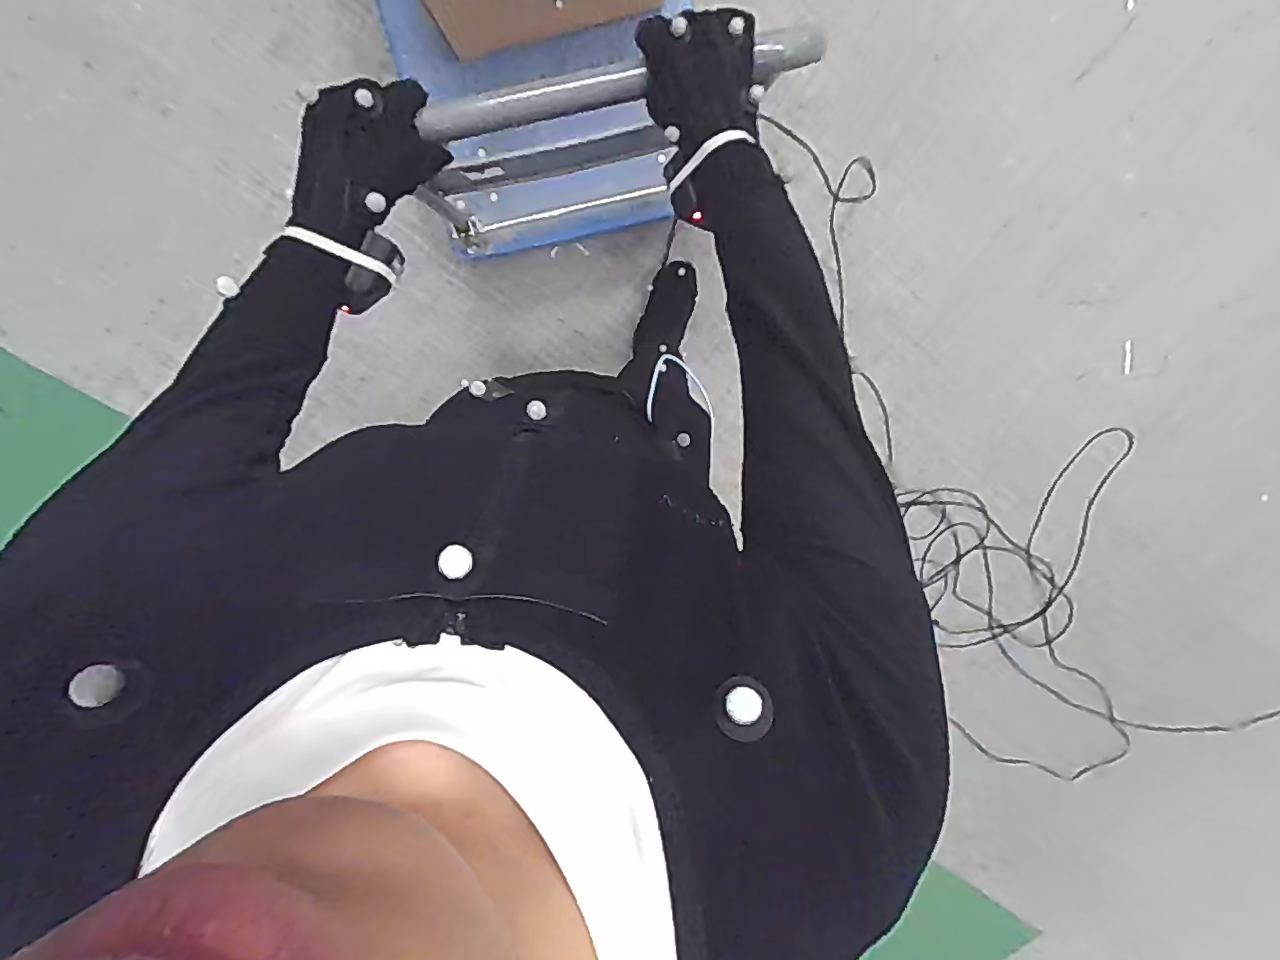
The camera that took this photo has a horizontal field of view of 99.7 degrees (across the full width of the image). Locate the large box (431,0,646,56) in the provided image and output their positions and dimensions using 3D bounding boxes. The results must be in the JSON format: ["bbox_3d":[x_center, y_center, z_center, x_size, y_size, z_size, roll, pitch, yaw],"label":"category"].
[{"bbox_3d":[-0.173,-0.943,0.832,0.408,0.320,0.320,-16,109,1],"label":"large box"}]
